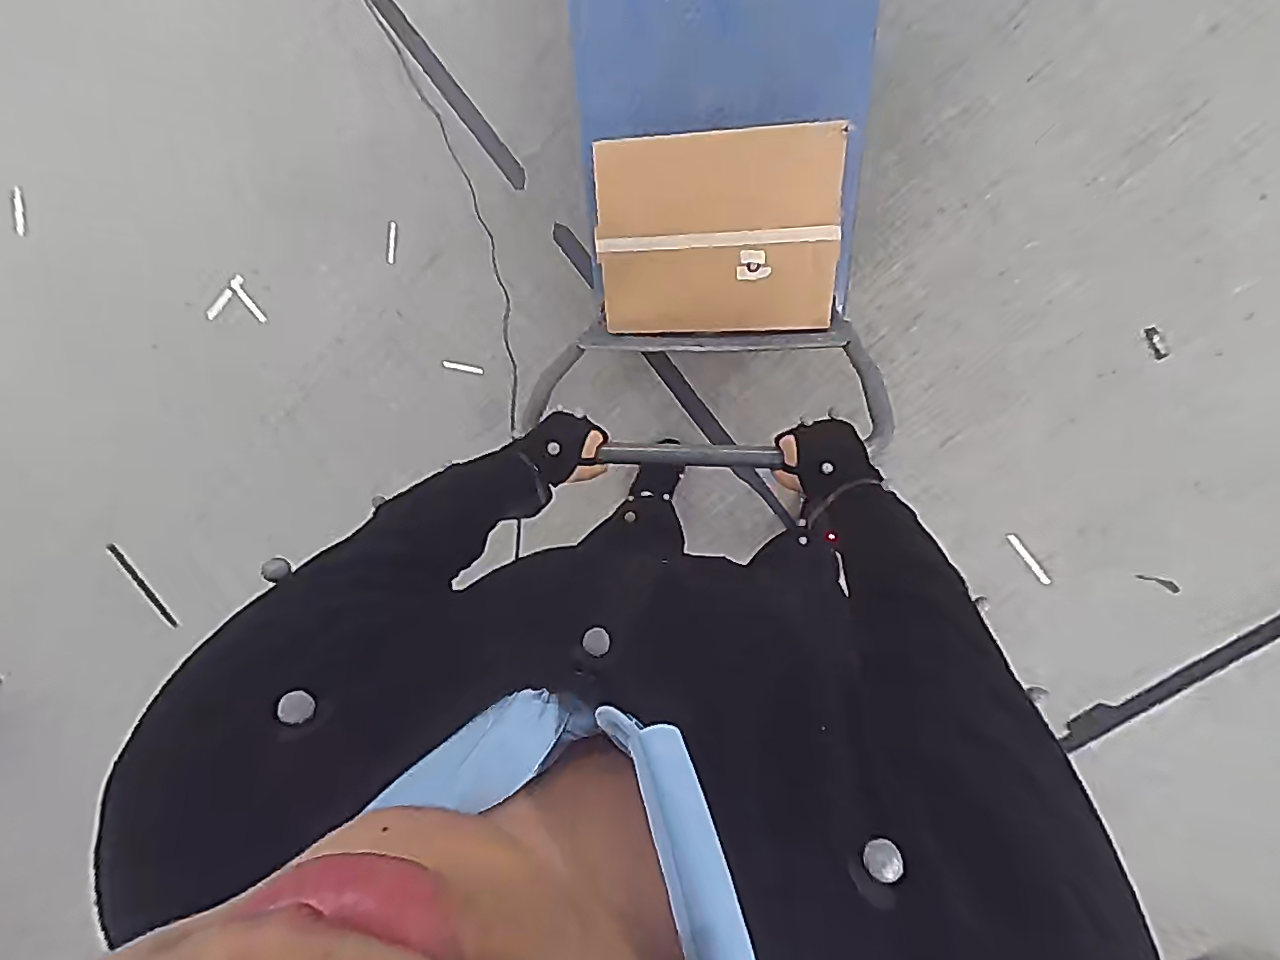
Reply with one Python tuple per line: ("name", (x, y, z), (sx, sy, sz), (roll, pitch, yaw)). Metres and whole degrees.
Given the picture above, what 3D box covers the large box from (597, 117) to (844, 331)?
("large box", (0.154, -0.488, 1.066), (0.408, 0.320, 0.320), (1, 117, 9))
